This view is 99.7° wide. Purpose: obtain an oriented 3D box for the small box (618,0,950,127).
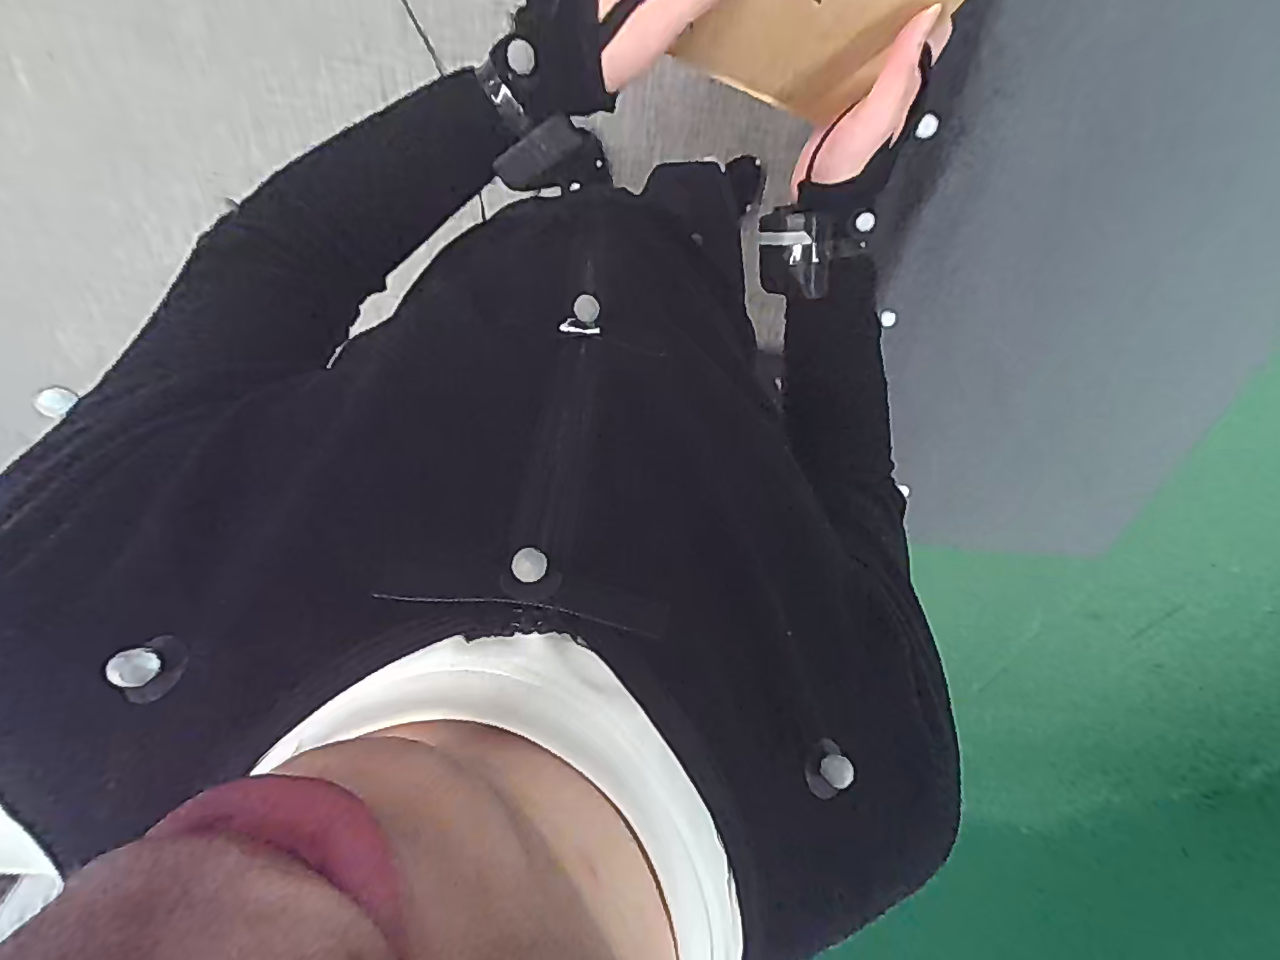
[{"bbox_3d":[0.096,-0.364,0.317,0.179,0.176,0.168,4,168,-23],"label":"small box"}]
